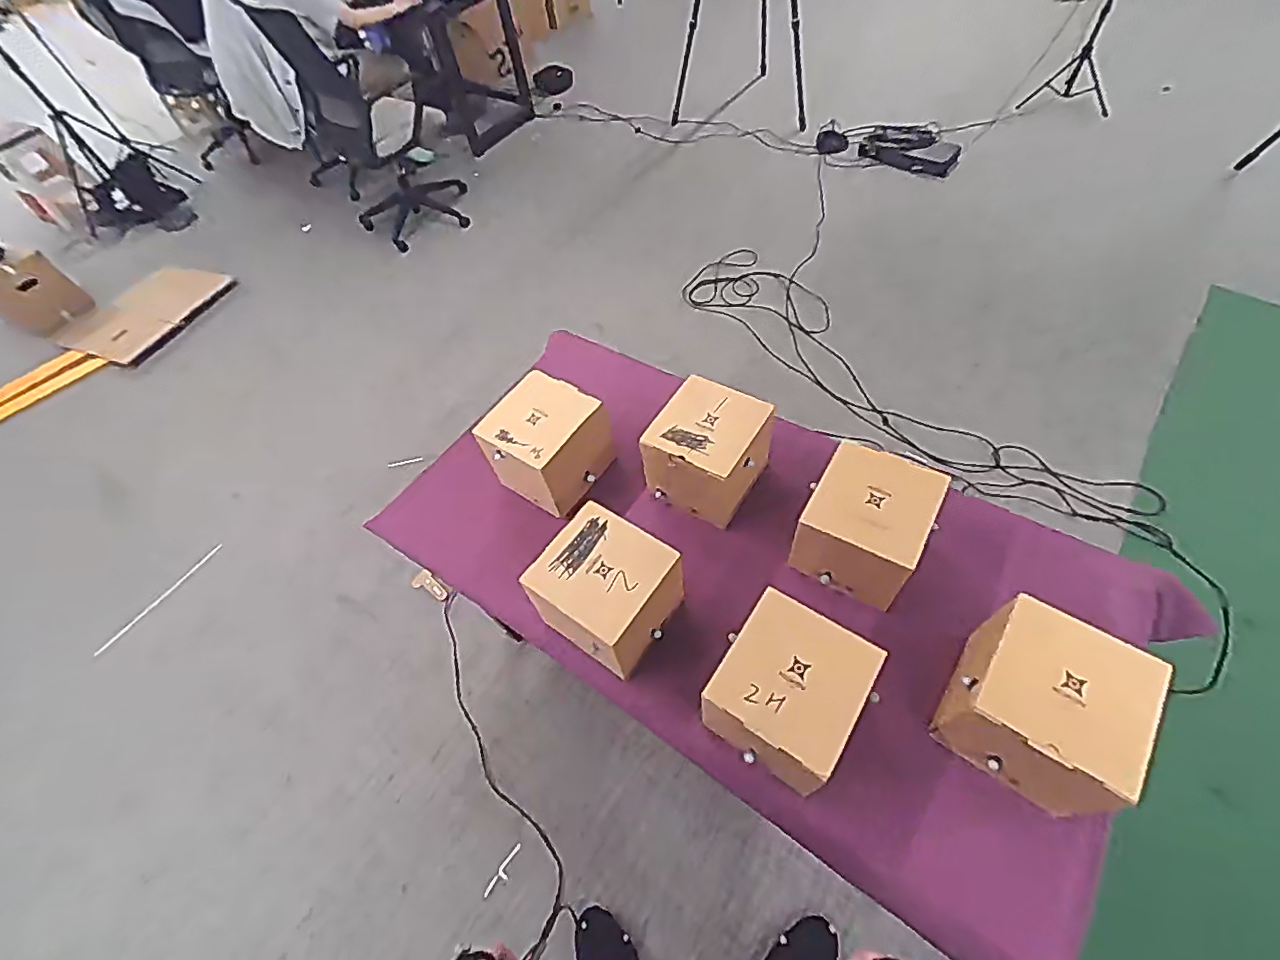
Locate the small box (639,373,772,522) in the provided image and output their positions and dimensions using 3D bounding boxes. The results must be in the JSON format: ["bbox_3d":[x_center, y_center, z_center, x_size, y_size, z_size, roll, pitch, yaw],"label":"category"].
[{"bbox_3d":[0.121,-0.054,0.973,0.168,0.176,0.179,26,63,23],"label":"small box"}]

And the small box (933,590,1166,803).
[{"bbox_3d":[0.509,0.281,0.696,0.168,0.176,0.179,29,65,25],"label":"small box"}]

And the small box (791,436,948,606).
[{"bbox_3d":[0.353,0.067,0.862,0.168,0.176,0.179,26,63,23],"label":"small box"}]

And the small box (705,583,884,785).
[{"bbox_3d":[0.199,0.279,0.735,0.168,0.176,0.179,28,63,24],"label":"small box"}]

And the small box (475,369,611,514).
[{"bbox_3d":[-0.170,-0.071,1.020,0.168,0.176,0.179,27,63,25],"label":"small box"}]
